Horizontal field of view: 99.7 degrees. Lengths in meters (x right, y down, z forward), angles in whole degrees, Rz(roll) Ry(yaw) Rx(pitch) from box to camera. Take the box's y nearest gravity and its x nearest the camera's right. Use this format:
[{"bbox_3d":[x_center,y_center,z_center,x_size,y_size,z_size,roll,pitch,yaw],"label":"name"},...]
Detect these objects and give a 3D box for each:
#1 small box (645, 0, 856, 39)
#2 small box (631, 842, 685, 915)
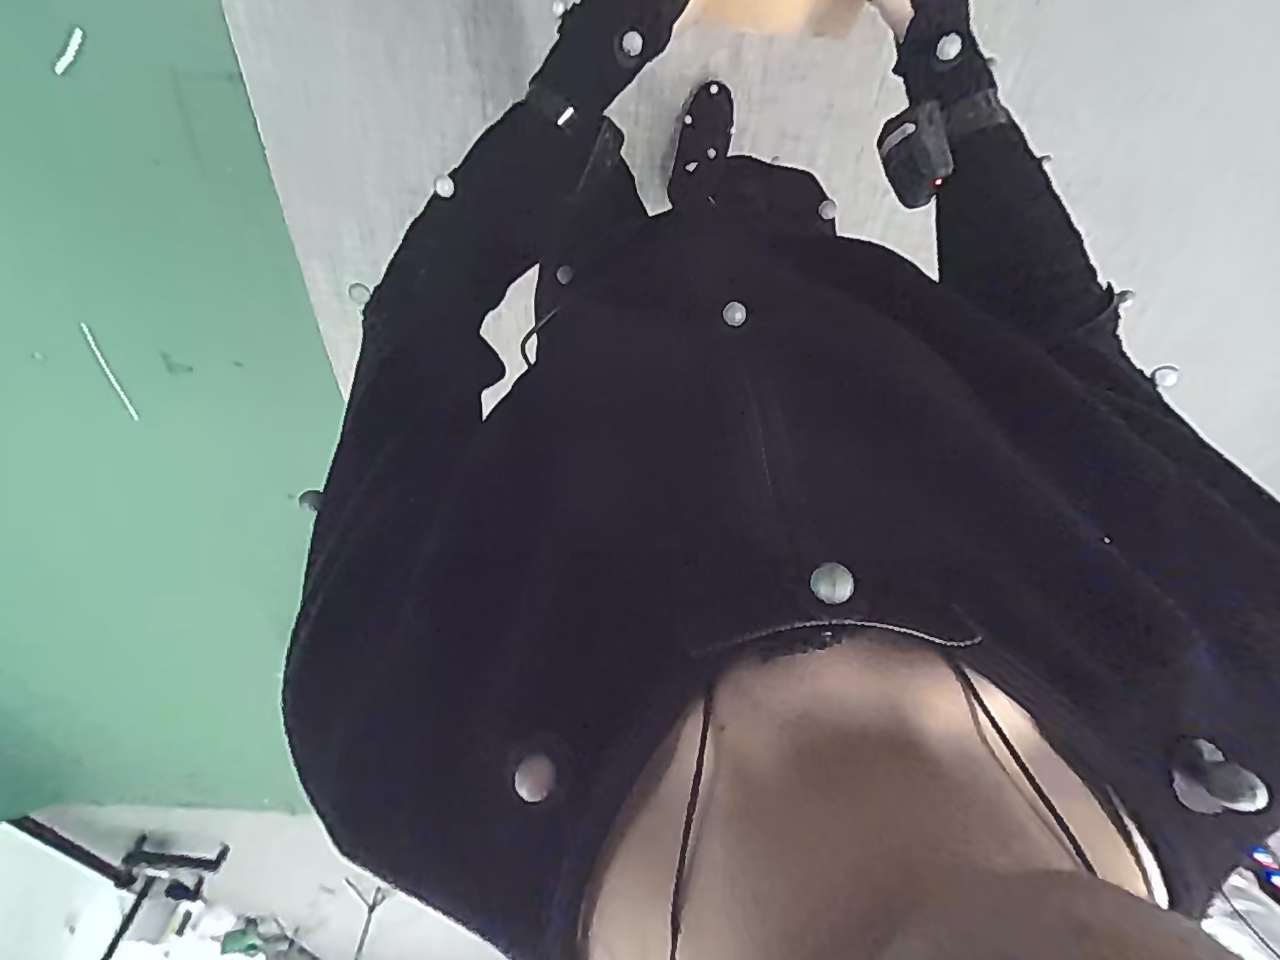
[{"bbox_3d":[0.090,-0.481,0.408,0.179,0.176,0.168,-8,159,-15],"label":"small box"},{"bbox_3d":[0.059,1.368,1.856,0.179,0.176,0.168,2,128,0],"label":"small box"}]
